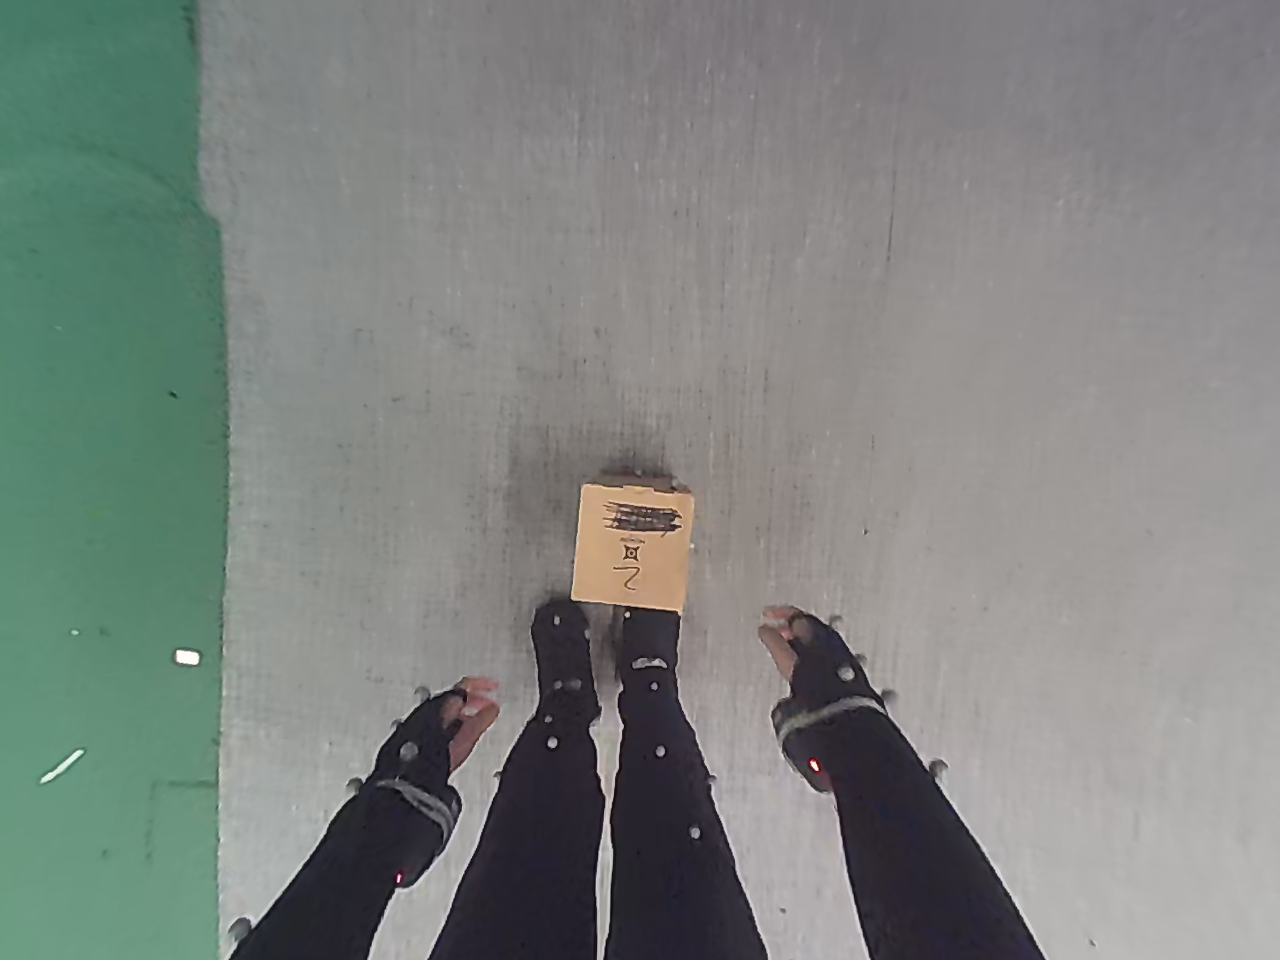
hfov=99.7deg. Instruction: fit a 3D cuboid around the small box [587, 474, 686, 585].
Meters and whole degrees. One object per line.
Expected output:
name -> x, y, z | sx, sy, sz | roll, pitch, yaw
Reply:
small box -> -0.004, 0.086, 1.022 | 0.168, 0.176, 0.179 | 4, 95, 1
